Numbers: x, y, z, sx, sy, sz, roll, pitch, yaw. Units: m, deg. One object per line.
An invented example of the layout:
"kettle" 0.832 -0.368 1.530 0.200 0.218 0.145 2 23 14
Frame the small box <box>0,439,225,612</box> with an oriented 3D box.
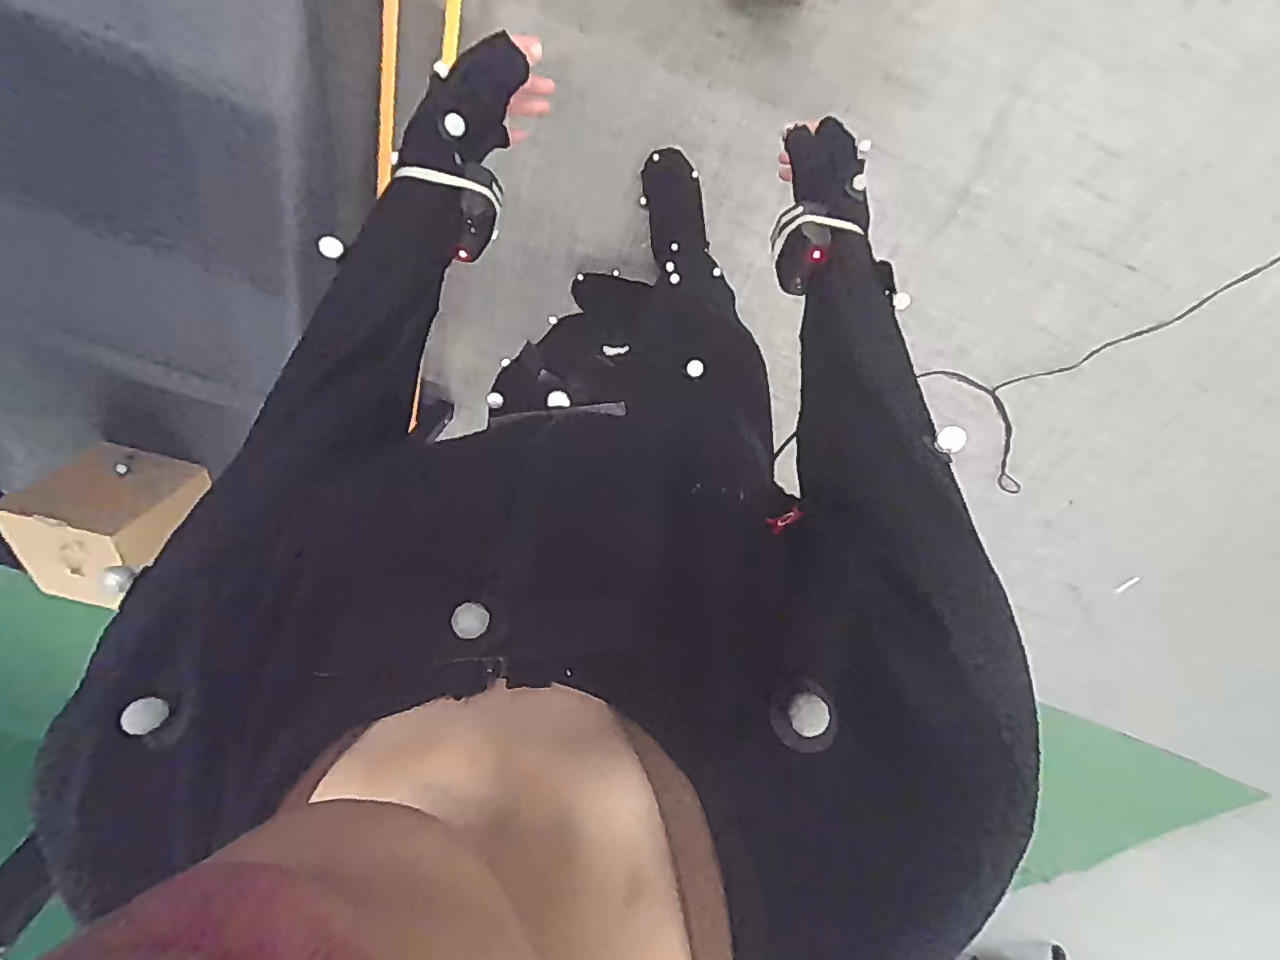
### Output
"small box" -0.785 0.066 0.828 0.168 0.176 0.179 14 126 -2
